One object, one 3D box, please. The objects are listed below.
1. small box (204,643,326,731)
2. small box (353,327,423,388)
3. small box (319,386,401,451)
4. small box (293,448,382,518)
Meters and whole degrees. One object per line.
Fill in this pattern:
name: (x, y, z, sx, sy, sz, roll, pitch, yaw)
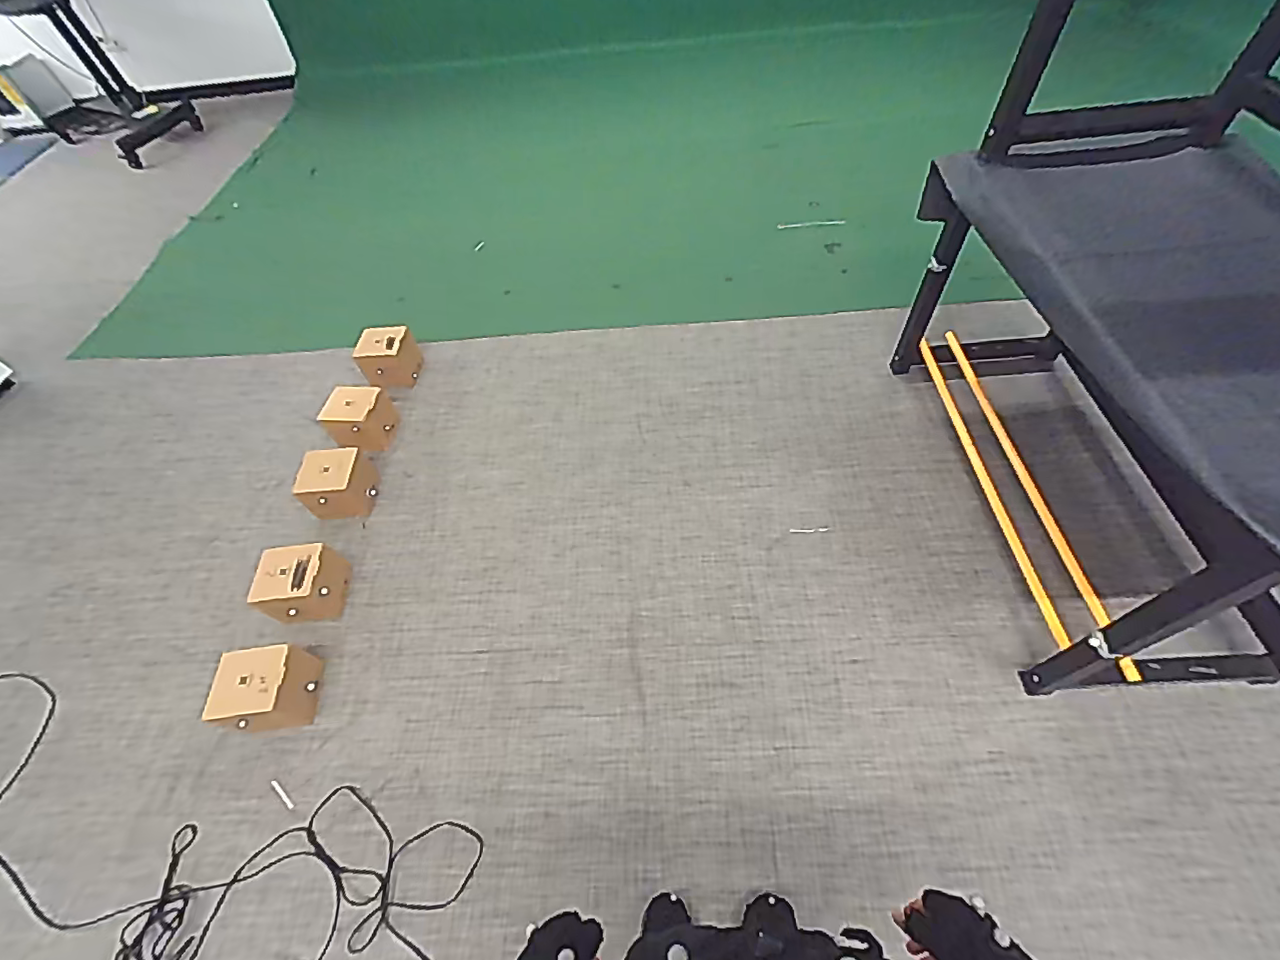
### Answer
small box: (-0.958, 0.540, 1.400, 0.179, 0.176, 0.168, -8, 55, -1)
small box: (-0.981, -0.479, 2.126, 0.179, 0.176, 0.168, -2, 54, 5)
small box: (-0.999, -0.218, 1.943, 0.179, 0.176, 0.168, 2, 55, 6)
small box: (-0.985, 0.013, 1.776, 0.179, 0.176, 0.168, -4, 56, 0)
